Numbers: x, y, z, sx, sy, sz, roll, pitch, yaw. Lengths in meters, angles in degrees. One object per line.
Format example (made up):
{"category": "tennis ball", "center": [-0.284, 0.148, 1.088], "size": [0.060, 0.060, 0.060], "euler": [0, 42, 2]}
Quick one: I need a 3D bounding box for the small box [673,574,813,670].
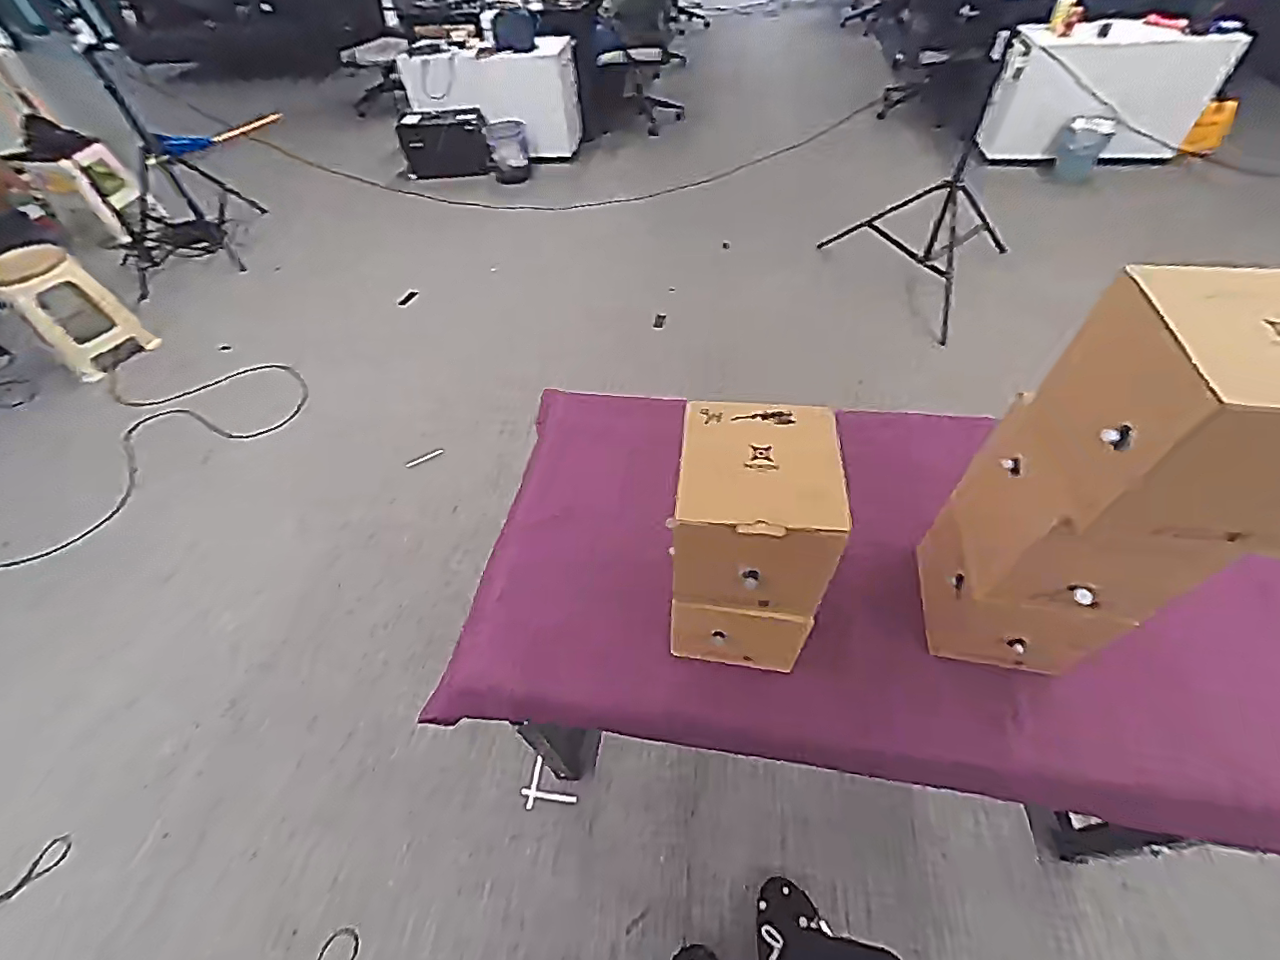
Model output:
{"category": "small box", "center": [0.140, 0.141, 0.743], "size": [0.168, 0.176, 0.179], "euler": [6, 50, 8]}

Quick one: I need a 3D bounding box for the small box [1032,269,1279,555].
{"category": "small box", "center": [0.480, -0.054, 0.458], "size": [0.168, 0.176, 0.179], "euler": [5, 51, 7]}

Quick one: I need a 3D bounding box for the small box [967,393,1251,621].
{"category": "small box", "center": [0.490, 0.030, 0.597], "size": [0.168, 0.176, 0.179], "euler": [7, 52, 10]}

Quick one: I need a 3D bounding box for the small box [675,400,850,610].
{"category": "small box", "center": [0.131, 0.032, 0.621], "size": [0.168, 0.176, 0.179], "euler": [5, 51, 7]}

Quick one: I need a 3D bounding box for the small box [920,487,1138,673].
{"category": "small box", "center": [0.494, 0.136, 0.723], "size": [0.168, 0.176, 0.179], "euler": [8, 51, 9]}
